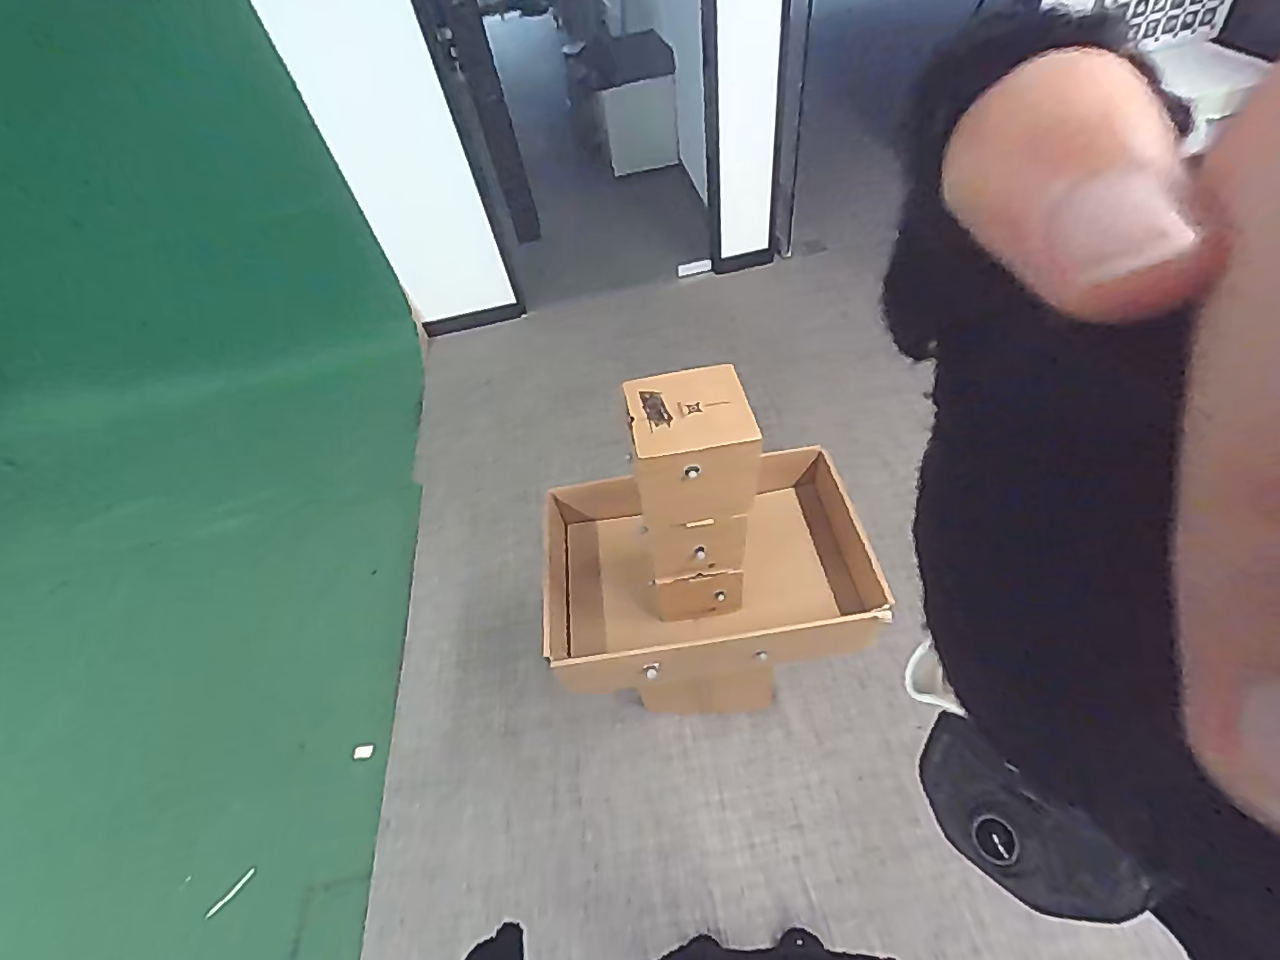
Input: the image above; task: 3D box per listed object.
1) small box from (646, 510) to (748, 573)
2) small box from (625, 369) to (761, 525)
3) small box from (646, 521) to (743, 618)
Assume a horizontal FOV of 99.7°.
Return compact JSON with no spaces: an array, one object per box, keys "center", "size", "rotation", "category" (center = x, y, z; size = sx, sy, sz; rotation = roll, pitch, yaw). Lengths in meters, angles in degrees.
[{"center":[0.093,0.055,0.977],"size":[0.168,0.176,0.179],"rotation":[-8,51,0],"category":"small box"},{"center":[0.079,-0.047,0.847],"size":[0.179,0.176,0.168],"rotation":[-9,51,-2],"category":"small box"},{"center":[0.109,0.165,1.097],"size":[0.168,0.176,0.179],"rotation":[-9,49,0],"category":"small box"}]
